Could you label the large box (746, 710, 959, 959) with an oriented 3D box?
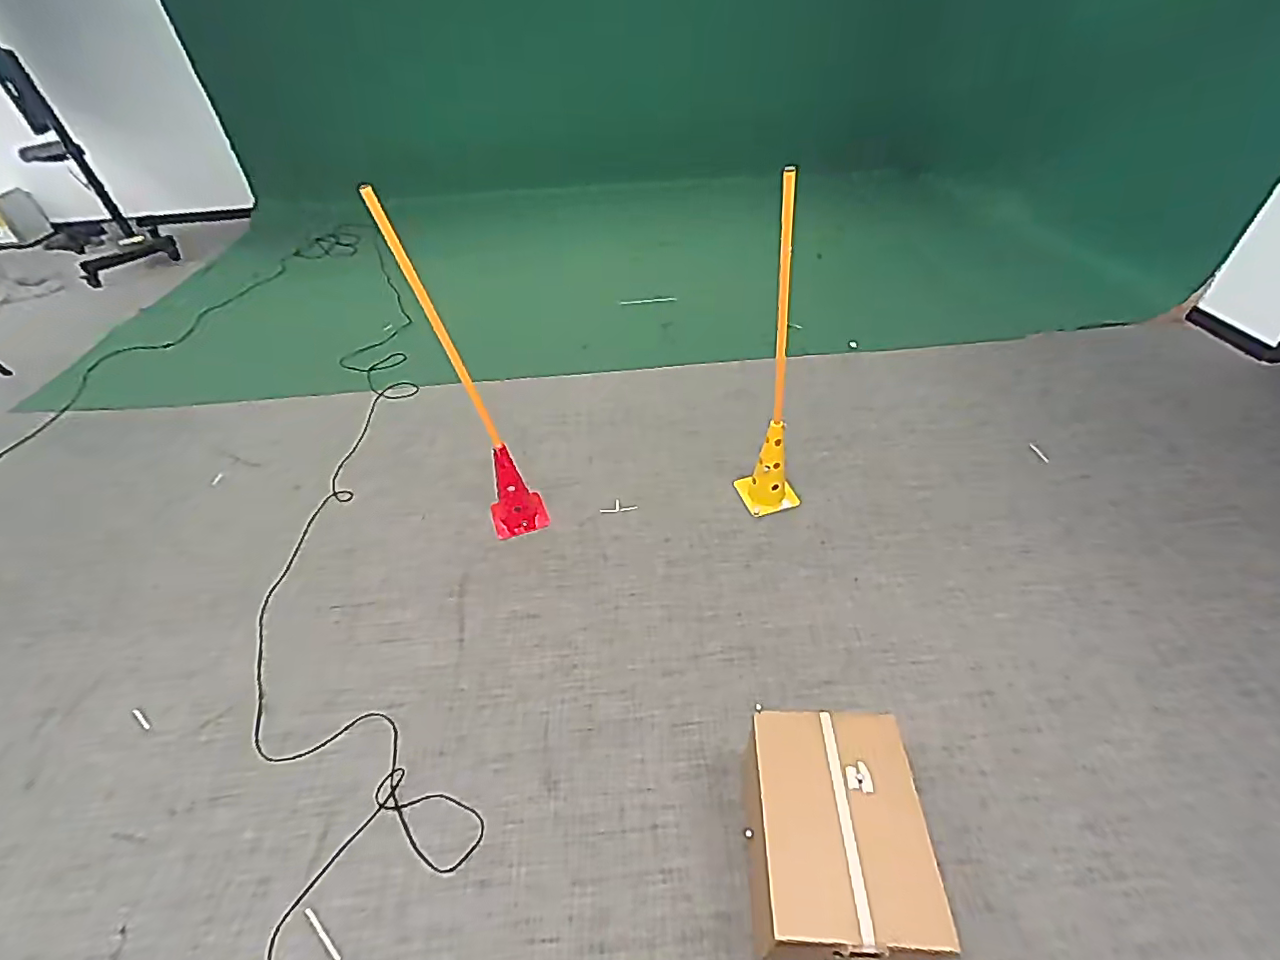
[{"bbox_3d":[0.409,0.766,1.169,0.320,0.320,0.408,0,42,4],"label":"large box"}]
